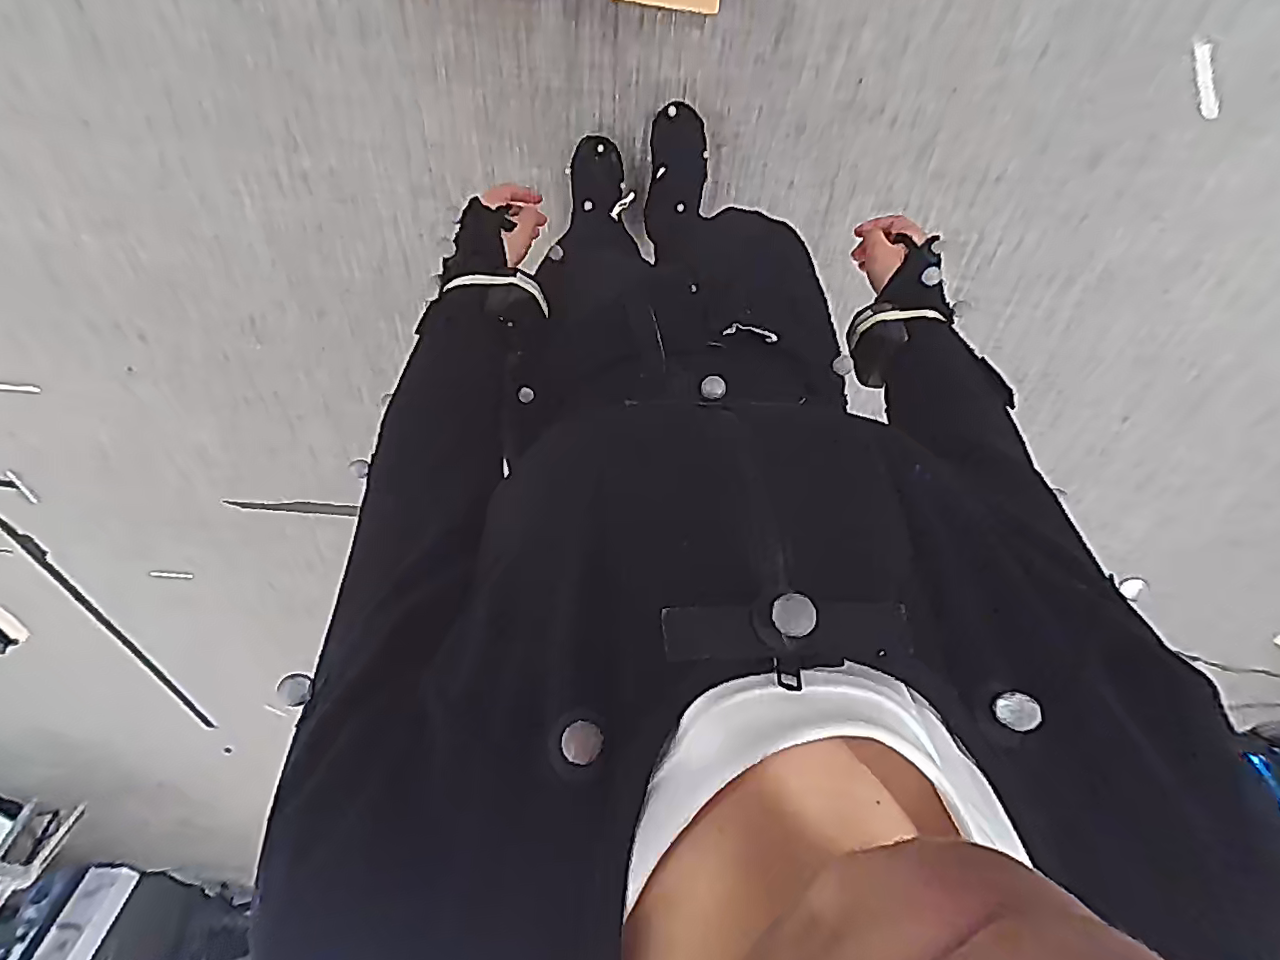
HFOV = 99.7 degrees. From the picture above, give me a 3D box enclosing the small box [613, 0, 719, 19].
[{"bbox_3d":[0.051,-0.831,0.823,0.168,0.176,0.179,6,131,-4],"label":"small box"}]
